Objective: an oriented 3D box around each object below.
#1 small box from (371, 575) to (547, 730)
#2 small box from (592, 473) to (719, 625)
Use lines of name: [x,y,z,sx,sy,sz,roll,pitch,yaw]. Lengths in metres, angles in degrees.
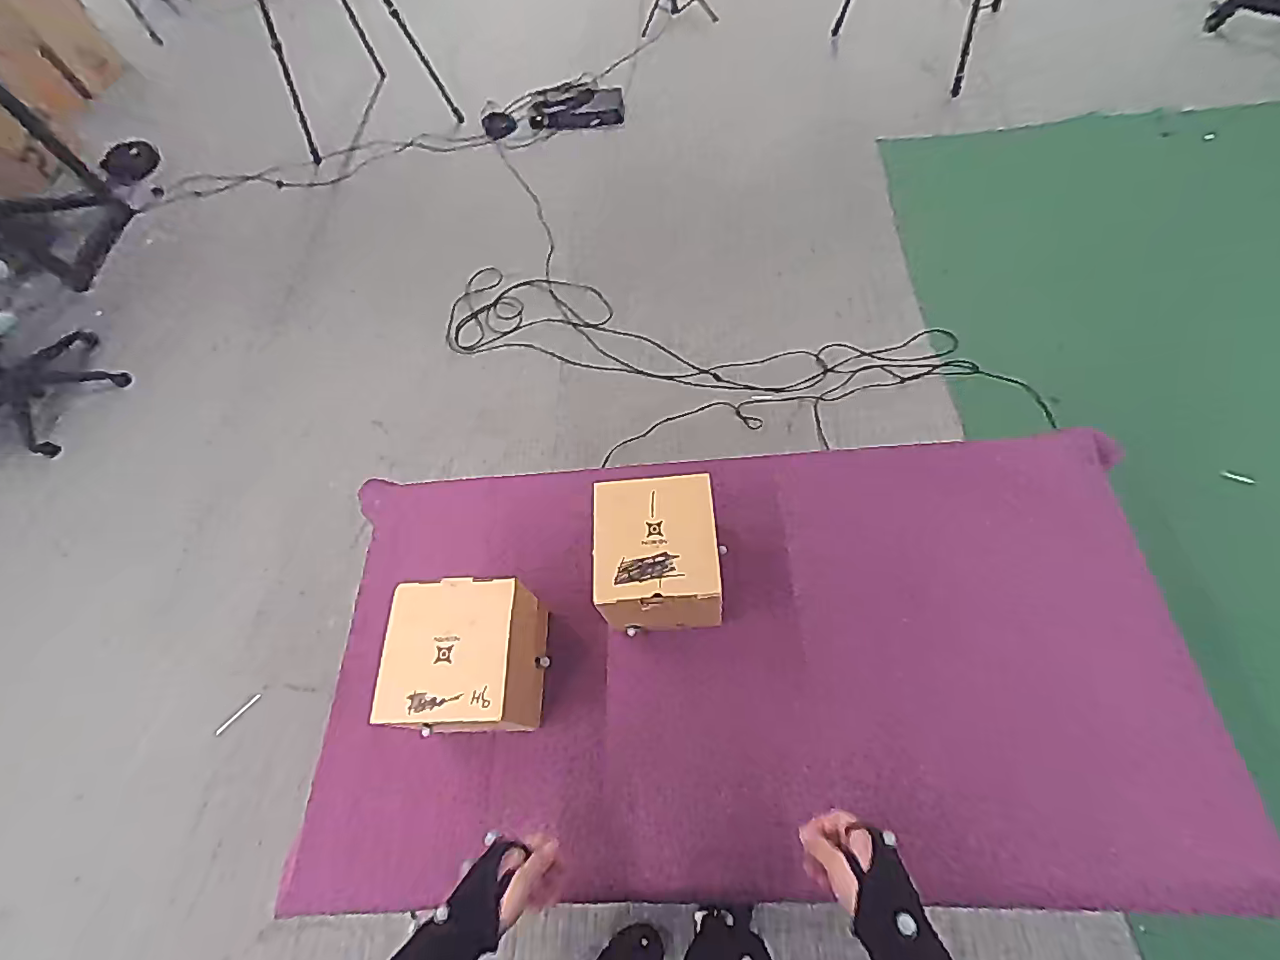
small box: [-0.233,0.244,0.750,0.168,0.176,0.179,-4,61,7]
small box: [0.028,0.110,0.792,0.168,0.176,0.179,-5,61,5]
